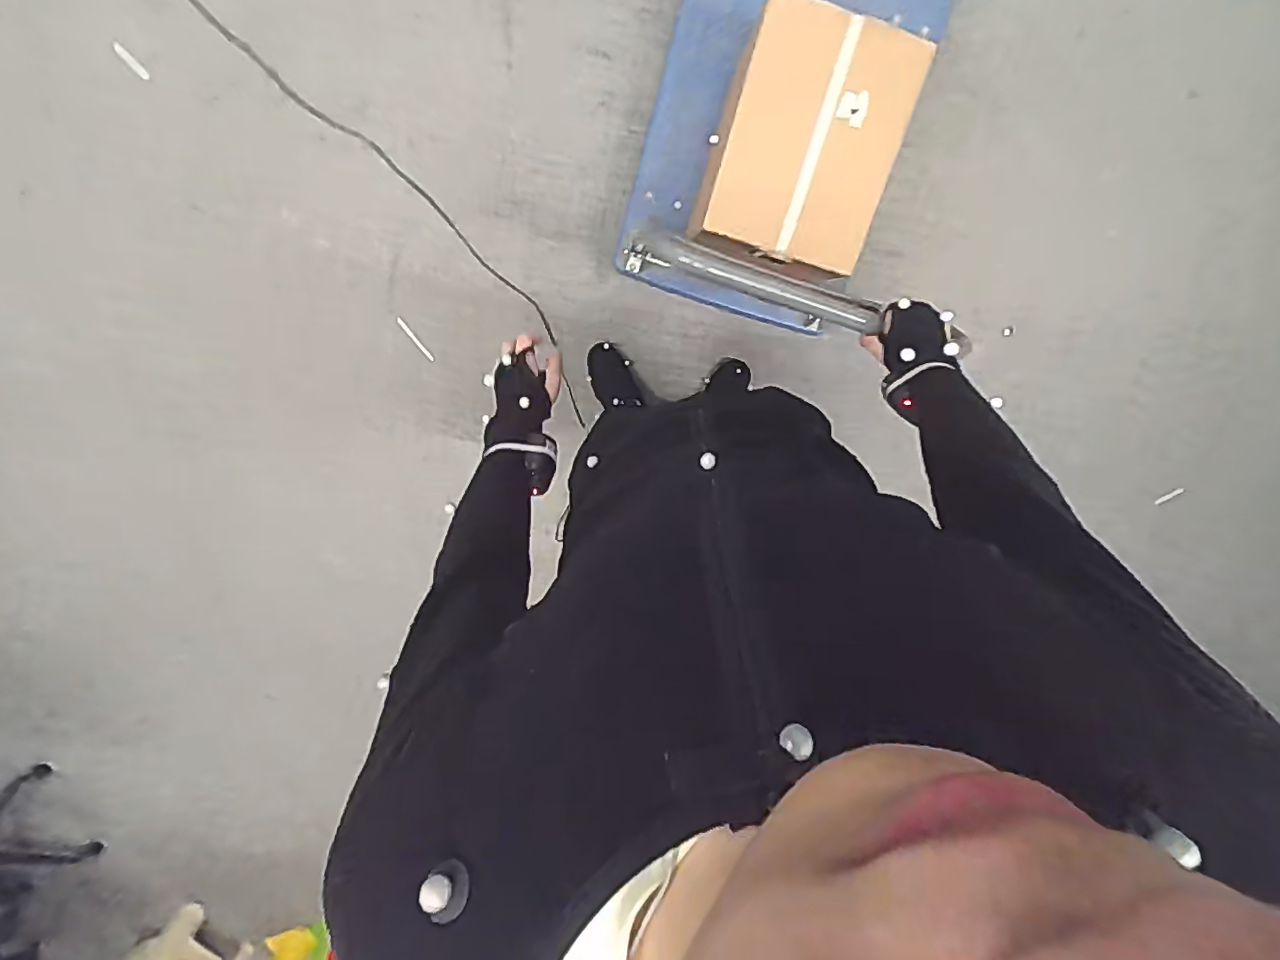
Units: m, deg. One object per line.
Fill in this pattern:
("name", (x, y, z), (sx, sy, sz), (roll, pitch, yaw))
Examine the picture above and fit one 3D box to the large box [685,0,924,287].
("large box", (0.307, -0.660, 1.142), (0.320, 0.320, 0.408), (15, 105, -7))
